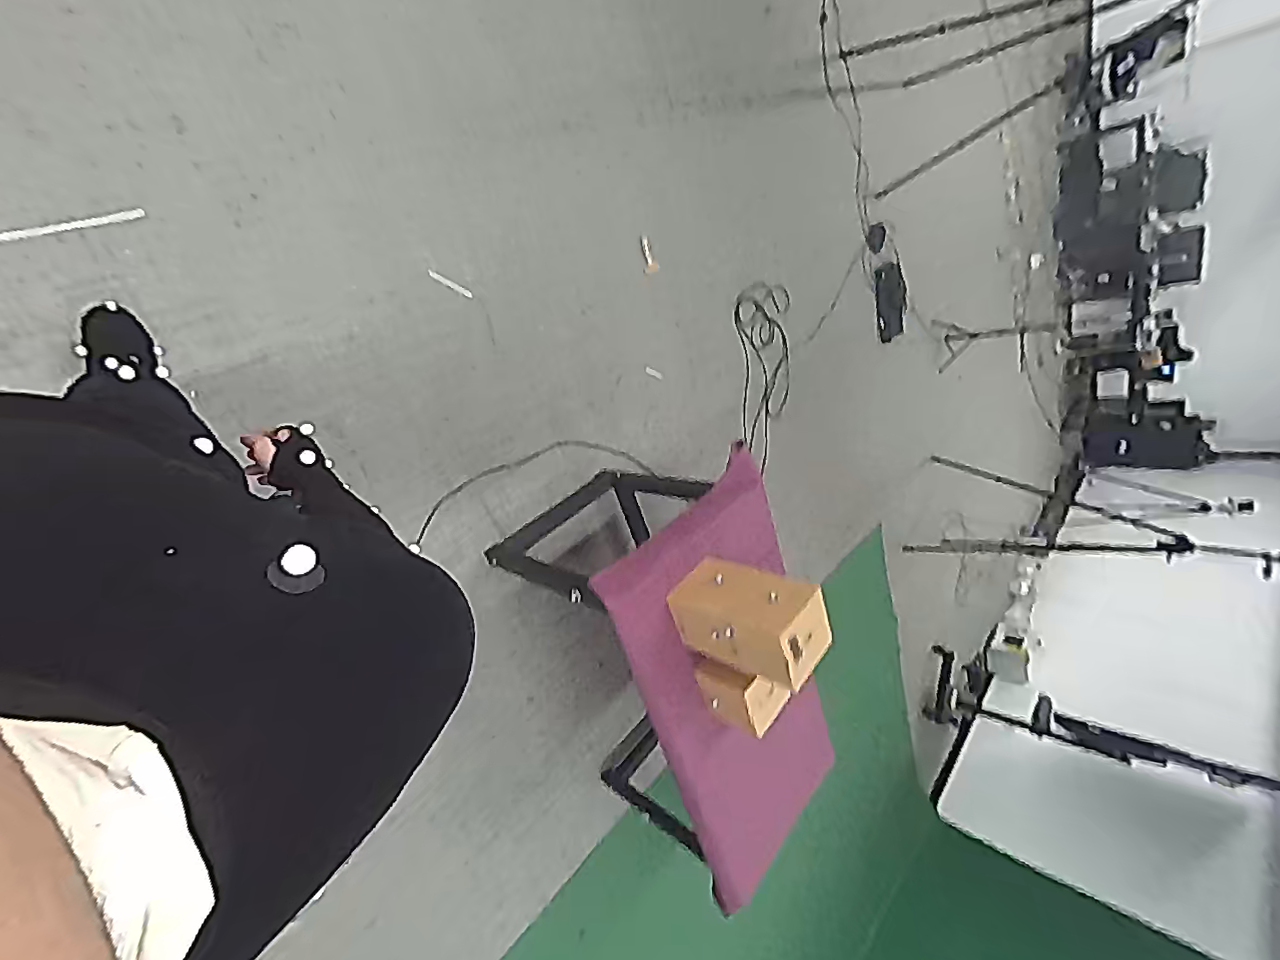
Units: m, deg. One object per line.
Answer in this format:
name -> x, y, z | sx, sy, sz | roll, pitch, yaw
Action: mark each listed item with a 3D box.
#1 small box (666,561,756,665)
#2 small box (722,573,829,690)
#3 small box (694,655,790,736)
small box -> 0.195, 0.325, 1.367 | 0.179, 0.176, 0.168 | -37, 118, -35
small box -> 0.307, 0.340, 1.247 | 0.179, 0.176, 0.168 | -37, 119, -35
small box -> 0.275, 0.543, 1.464 | 0.179, 0.176, 0.168 | -37, 118, -34
